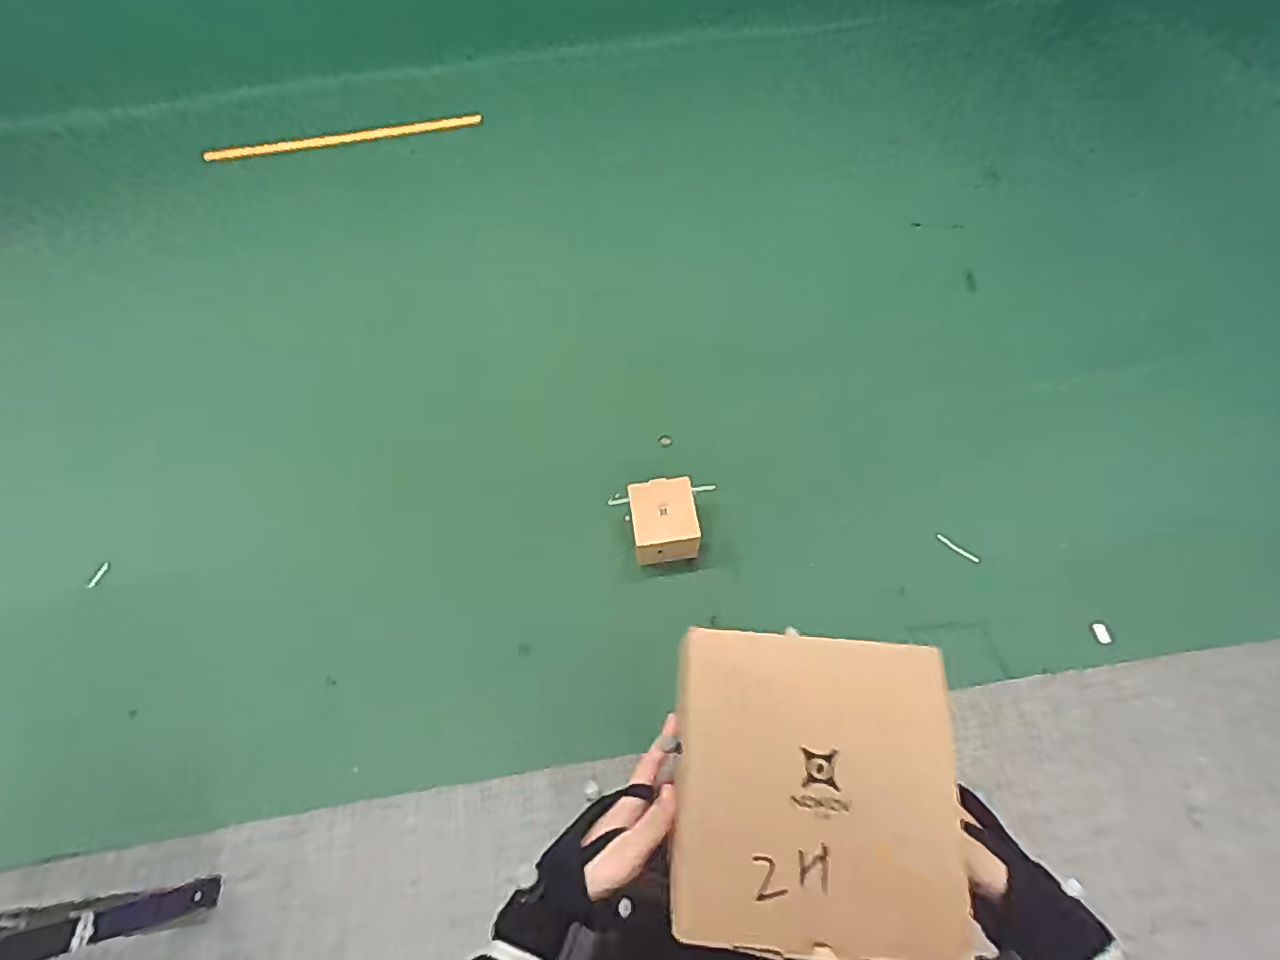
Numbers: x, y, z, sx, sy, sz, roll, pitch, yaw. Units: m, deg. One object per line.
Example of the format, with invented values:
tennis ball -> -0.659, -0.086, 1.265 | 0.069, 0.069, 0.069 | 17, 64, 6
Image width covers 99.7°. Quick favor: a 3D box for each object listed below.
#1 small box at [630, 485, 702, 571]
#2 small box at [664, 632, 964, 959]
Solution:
small box -> 0.069, 0.137, 1.455 | 0.168, 0.176, 0.179 | -8, 61, -1
small box -> 0.105, 0.220, 0.406 | 0.168, 0.176, 0.179 | 3, 67, 4
